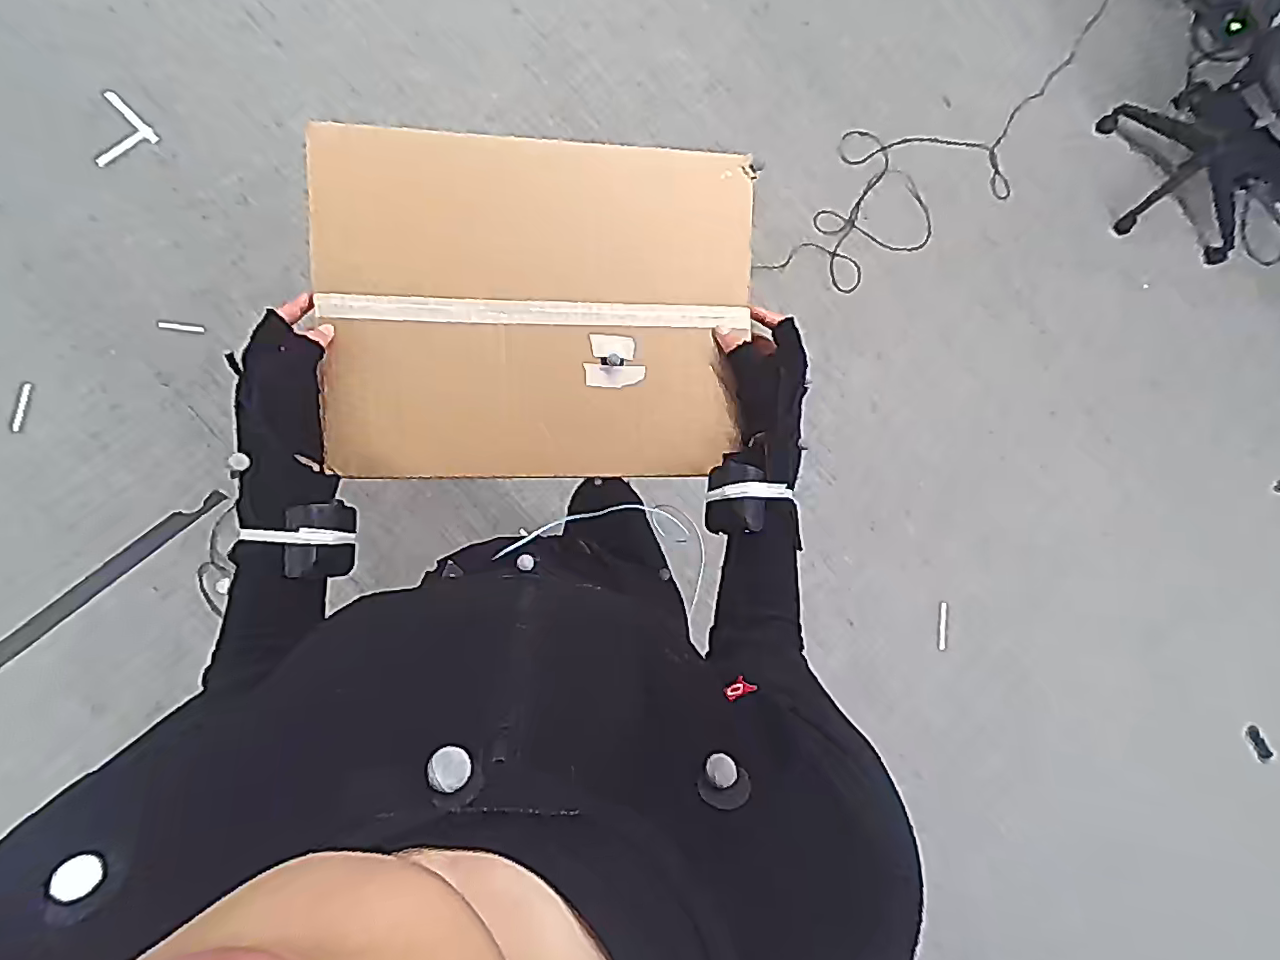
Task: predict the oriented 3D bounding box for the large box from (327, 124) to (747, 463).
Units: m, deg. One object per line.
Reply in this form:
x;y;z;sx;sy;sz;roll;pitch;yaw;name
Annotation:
-0.110;-0.189;0.678;0.408;0.320;0.320;0;97;-8;large box
